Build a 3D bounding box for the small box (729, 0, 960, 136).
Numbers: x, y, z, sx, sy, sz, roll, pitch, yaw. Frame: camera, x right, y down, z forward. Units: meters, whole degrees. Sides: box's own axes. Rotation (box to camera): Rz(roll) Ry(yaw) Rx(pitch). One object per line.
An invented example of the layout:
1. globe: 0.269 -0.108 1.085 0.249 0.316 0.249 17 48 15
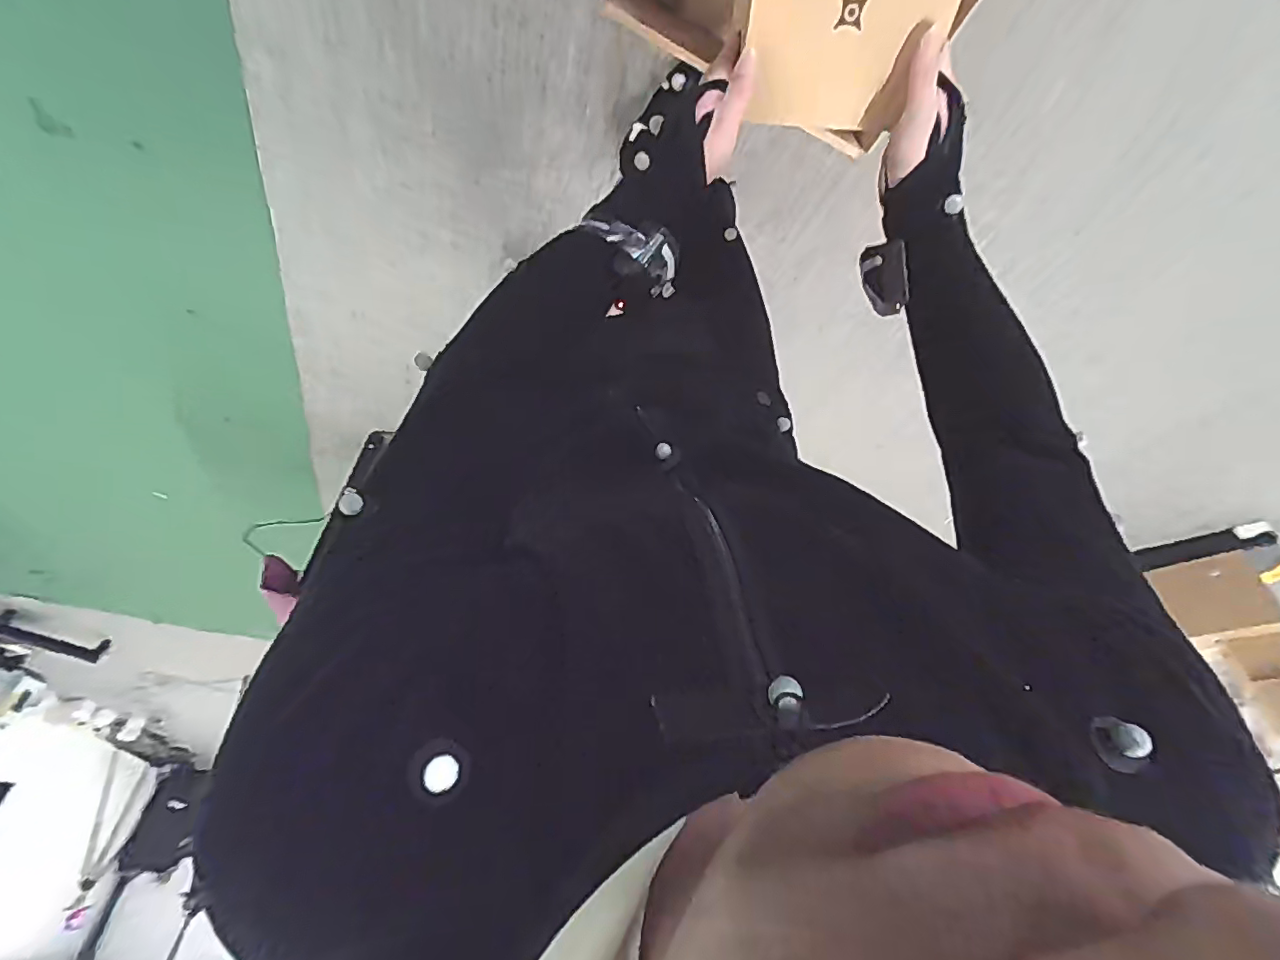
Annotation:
1. small box: 0.173 -0.433 0.473 0.168 0.176 0.179 4 140 2
